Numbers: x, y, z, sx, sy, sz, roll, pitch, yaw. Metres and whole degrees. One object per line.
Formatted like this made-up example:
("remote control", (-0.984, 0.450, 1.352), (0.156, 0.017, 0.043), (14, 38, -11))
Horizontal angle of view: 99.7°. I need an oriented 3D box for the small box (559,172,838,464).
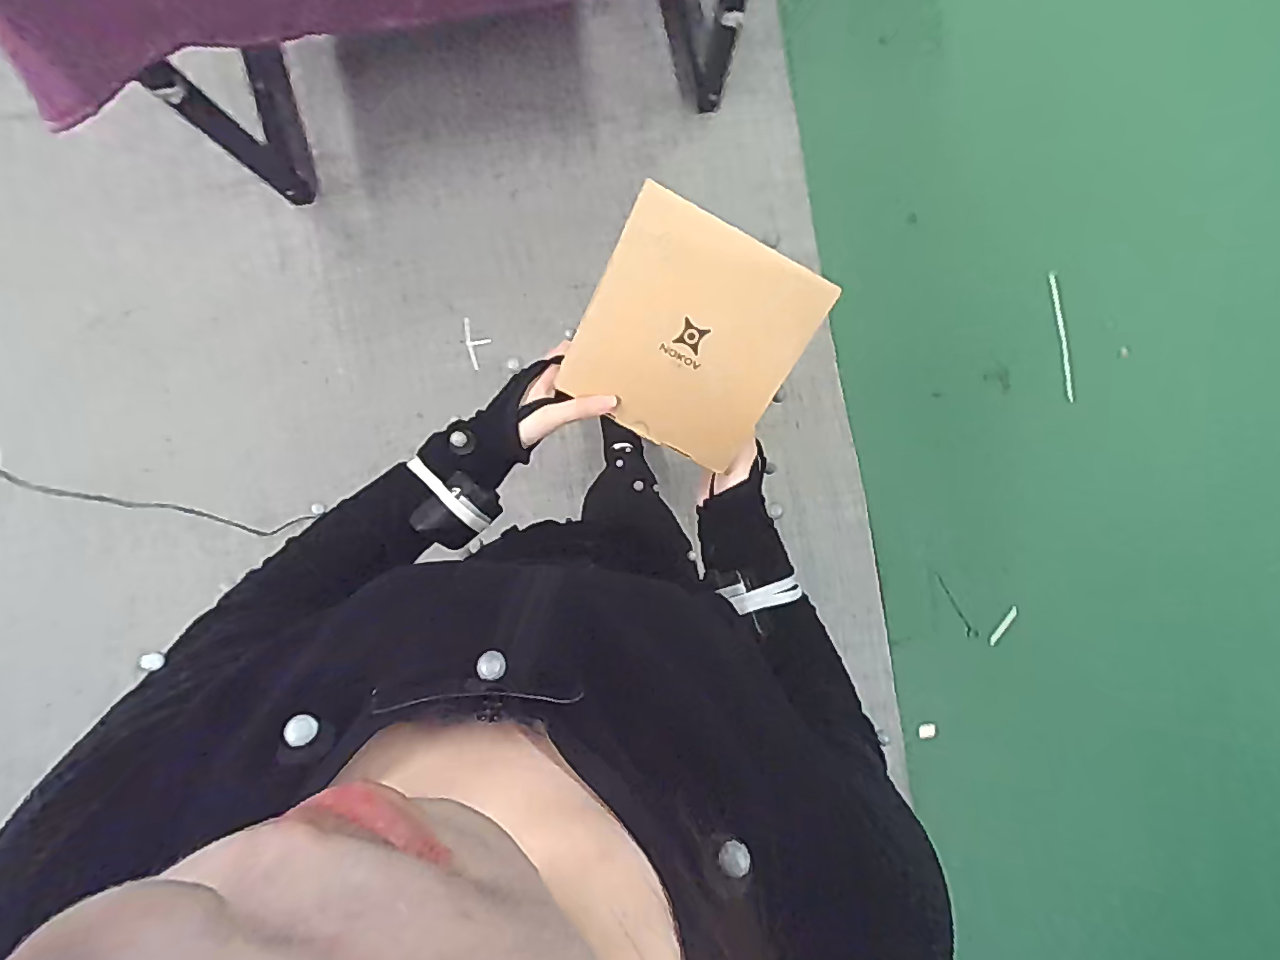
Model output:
("small box", (0.047, -0.150, 0.499), (0.168, 0.176, 0.179), (26, 115, -5))
